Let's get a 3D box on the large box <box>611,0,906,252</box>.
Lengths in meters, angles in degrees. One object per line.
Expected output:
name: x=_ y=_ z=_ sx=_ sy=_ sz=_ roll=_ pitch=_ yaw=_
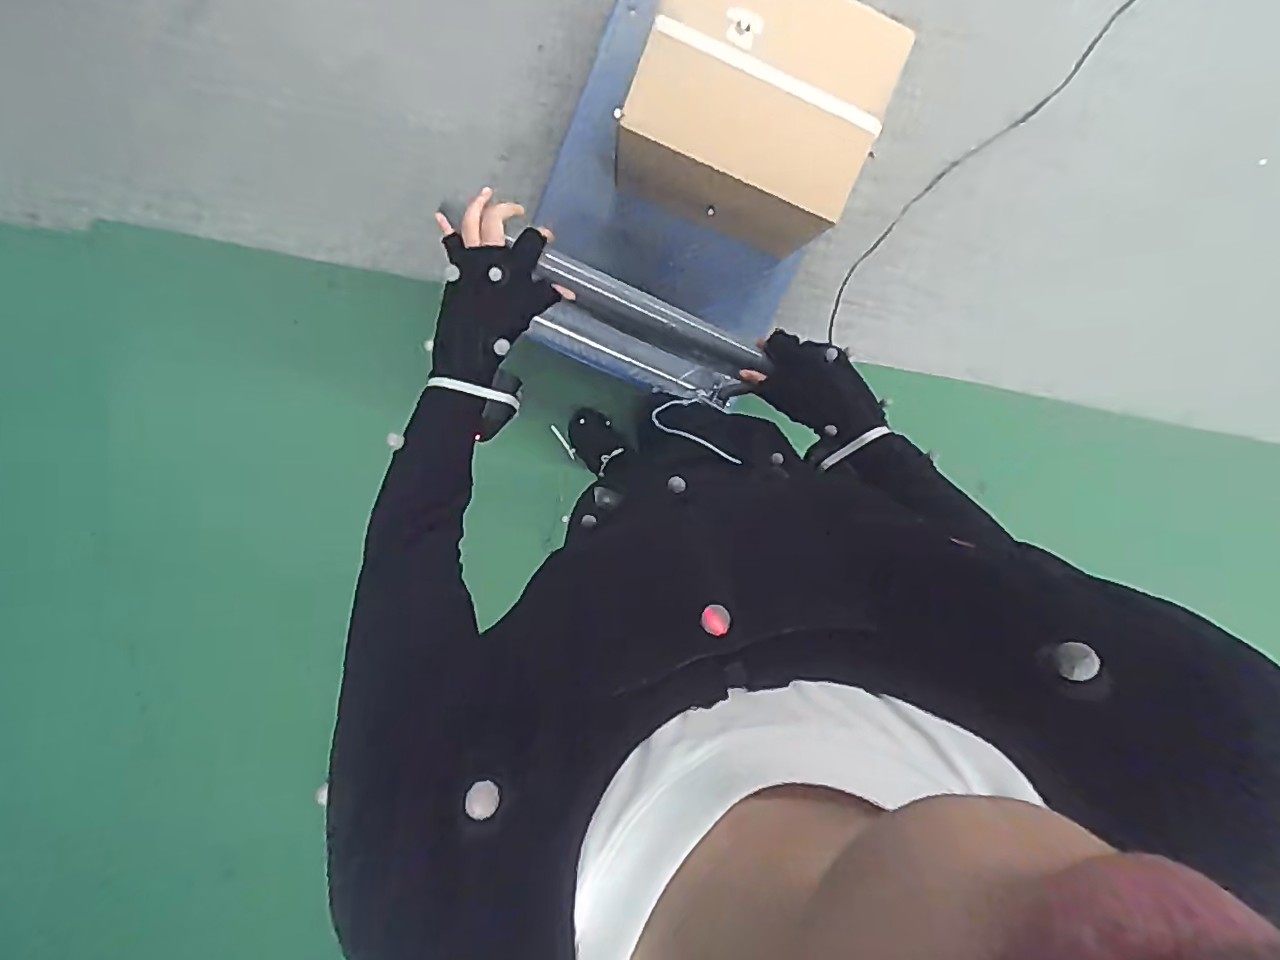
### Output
large box: x=0.187 y=-0.679 z=1.016 sx=0.408 sy=0.320 sz=0.320 roll=21 pitch=99 yaw=-6
